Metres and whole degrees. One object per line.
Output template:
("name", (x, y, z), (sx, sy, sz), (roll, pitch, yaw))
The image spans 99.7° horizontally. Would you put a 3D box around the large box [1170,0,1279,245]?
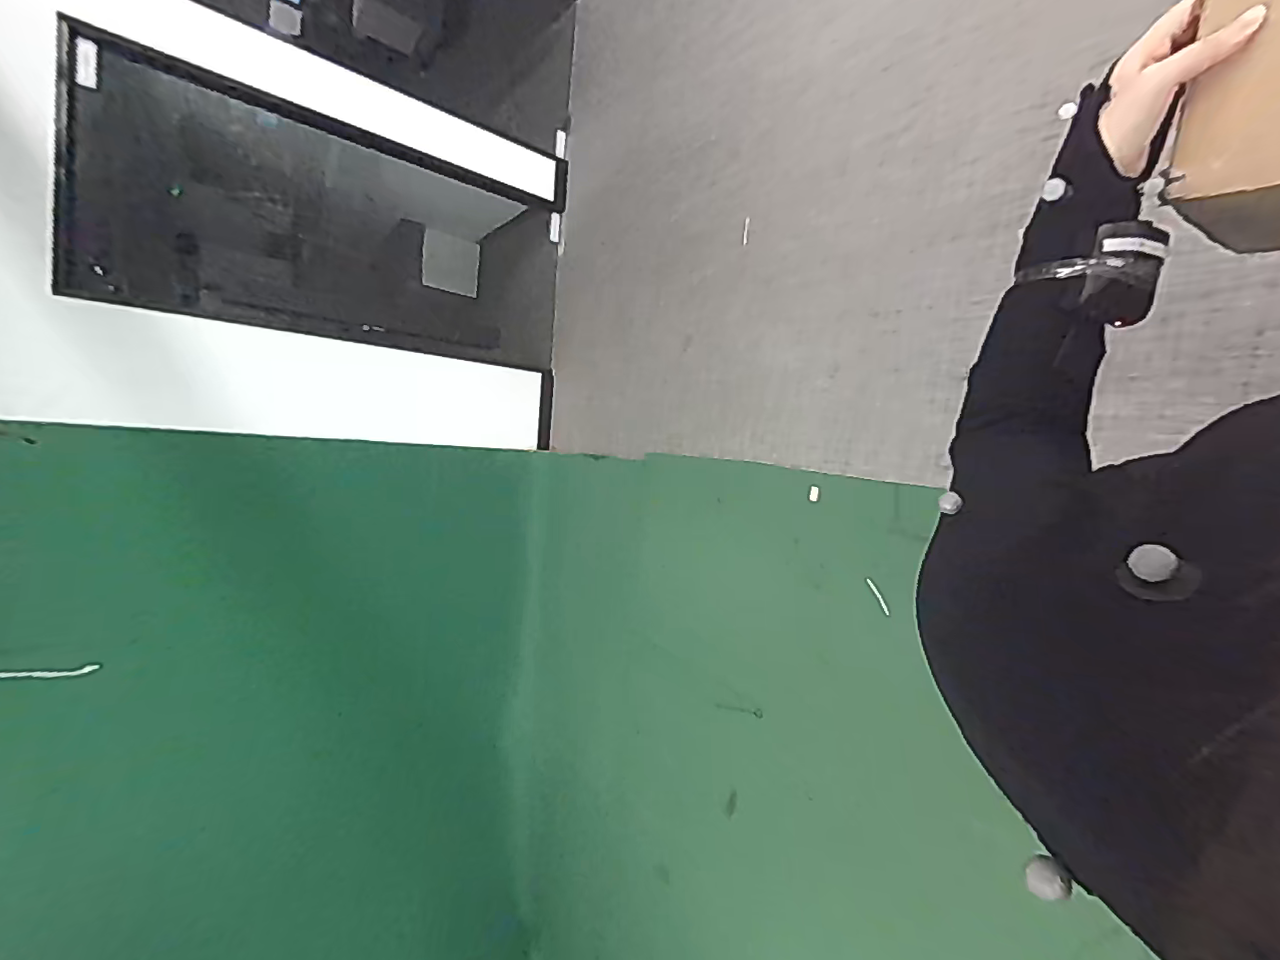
("large box", (0.639, -0.341, 0.303), (0.408, 0.320, 0.320), (18, 111, 53))
